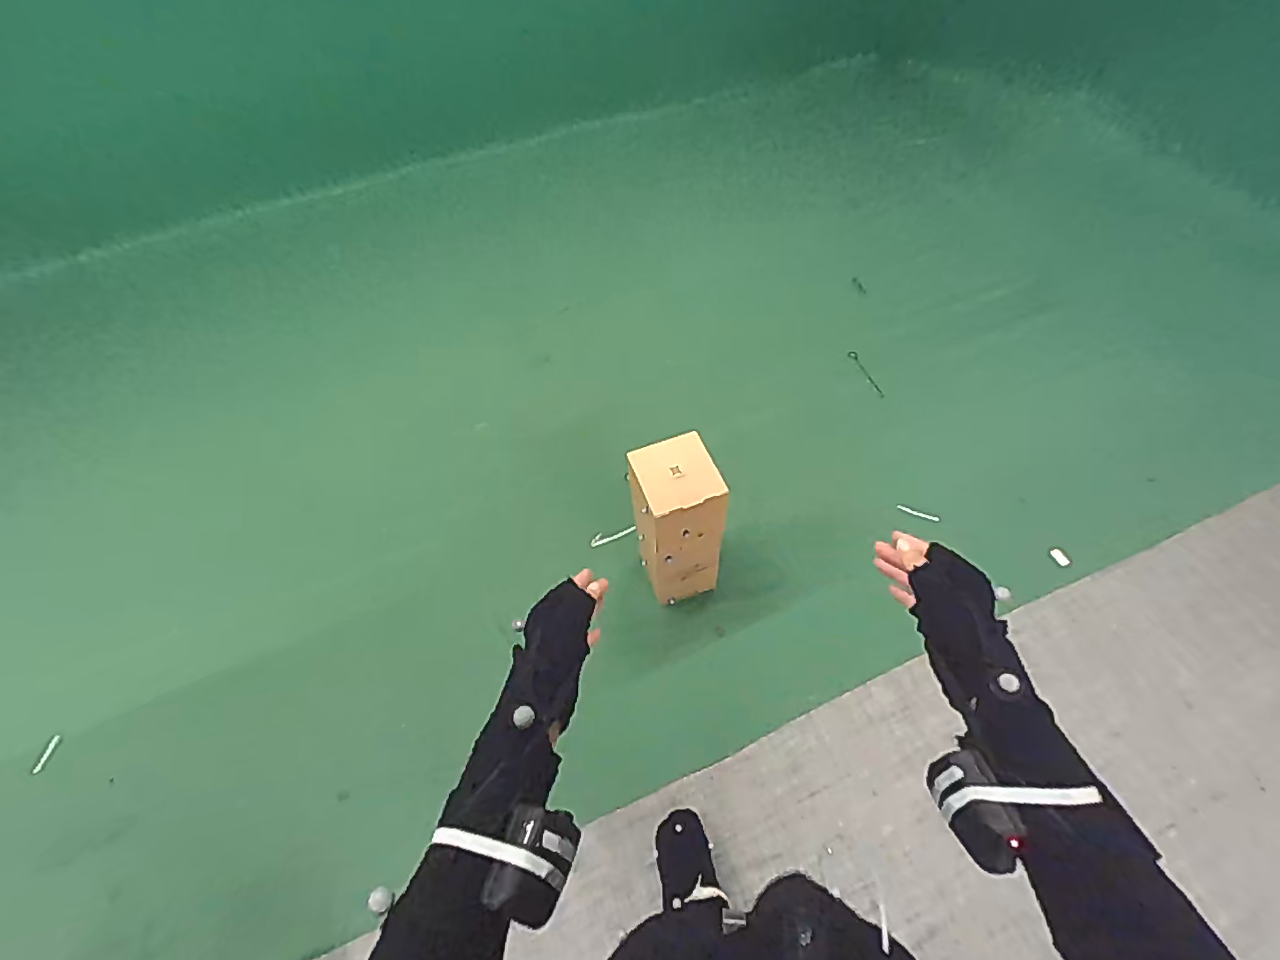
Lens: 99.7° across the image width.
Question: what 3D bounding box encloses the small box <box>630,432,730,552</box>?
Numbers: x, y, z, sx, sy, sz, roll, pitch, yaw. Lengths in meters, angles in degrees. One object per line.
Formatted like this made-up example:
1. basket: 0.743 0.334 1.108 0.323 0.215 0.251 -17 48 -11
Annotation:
1. small box: 0.082 0.029 1.197 0.168 0.176 0.179 -19 57 -9

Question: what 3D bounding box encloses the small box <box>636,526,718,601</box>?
1. small box: 0.099 0.212 1.469 0.168 0.176 0.179 -20 59 -9
